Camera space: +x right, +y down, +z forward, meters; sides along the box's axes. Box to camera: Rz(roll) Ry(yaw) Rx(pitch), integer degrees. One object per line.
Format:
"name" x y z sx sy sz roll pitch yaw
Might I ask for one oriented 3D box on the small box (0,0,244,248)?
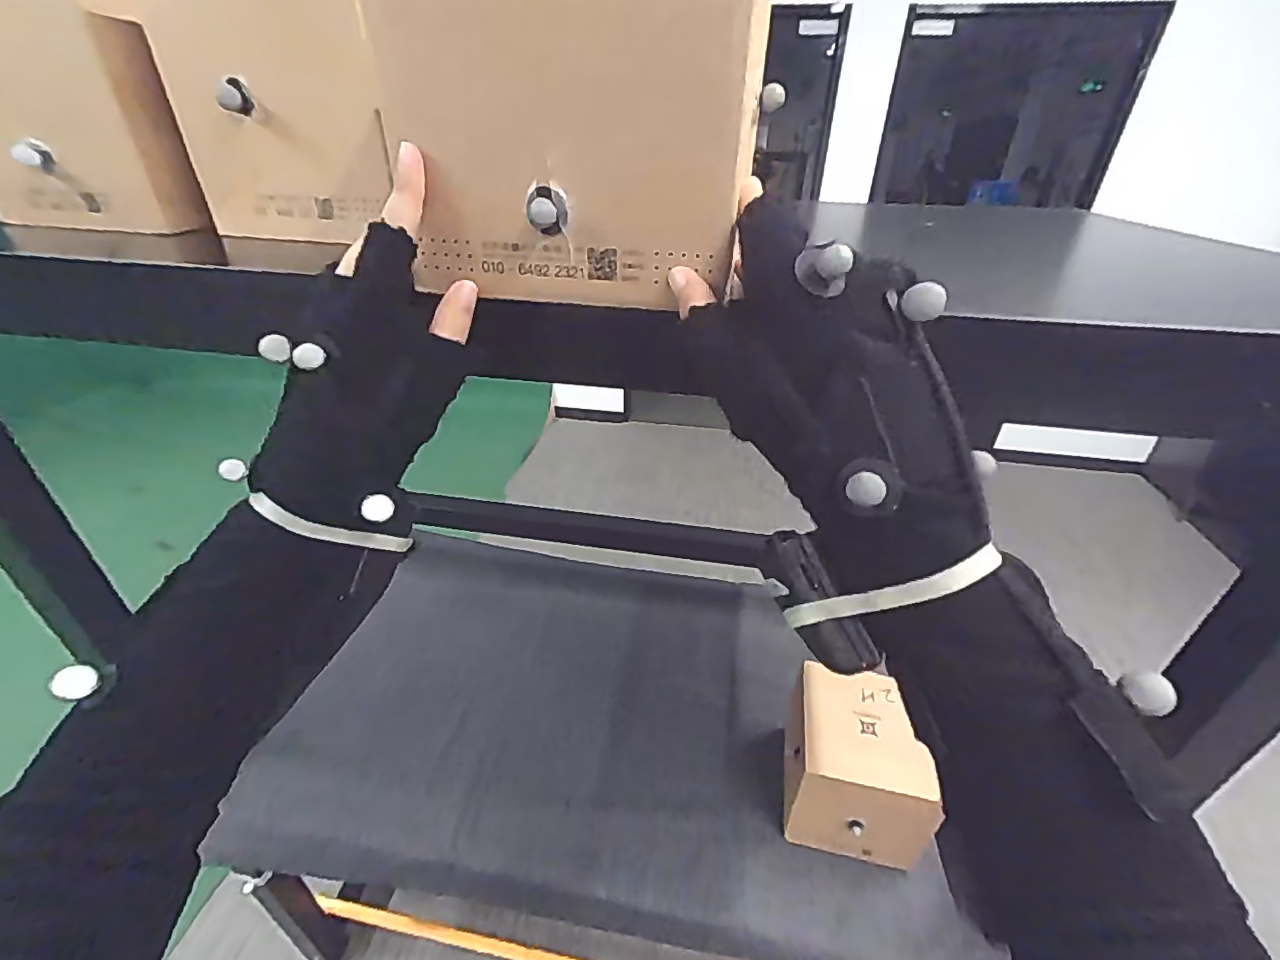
"small box" -0.426 -0.309 0.467 0.168 0.176 0.179 7 33 9

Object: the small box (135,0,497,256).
"small box" -0.232 -0.288 0.444 0.168 0.176 0.179 7 32 10

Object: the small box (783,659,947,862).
"small box" 0.297 0.387 0.752 0.168 0.176 0.179 9 32 11
